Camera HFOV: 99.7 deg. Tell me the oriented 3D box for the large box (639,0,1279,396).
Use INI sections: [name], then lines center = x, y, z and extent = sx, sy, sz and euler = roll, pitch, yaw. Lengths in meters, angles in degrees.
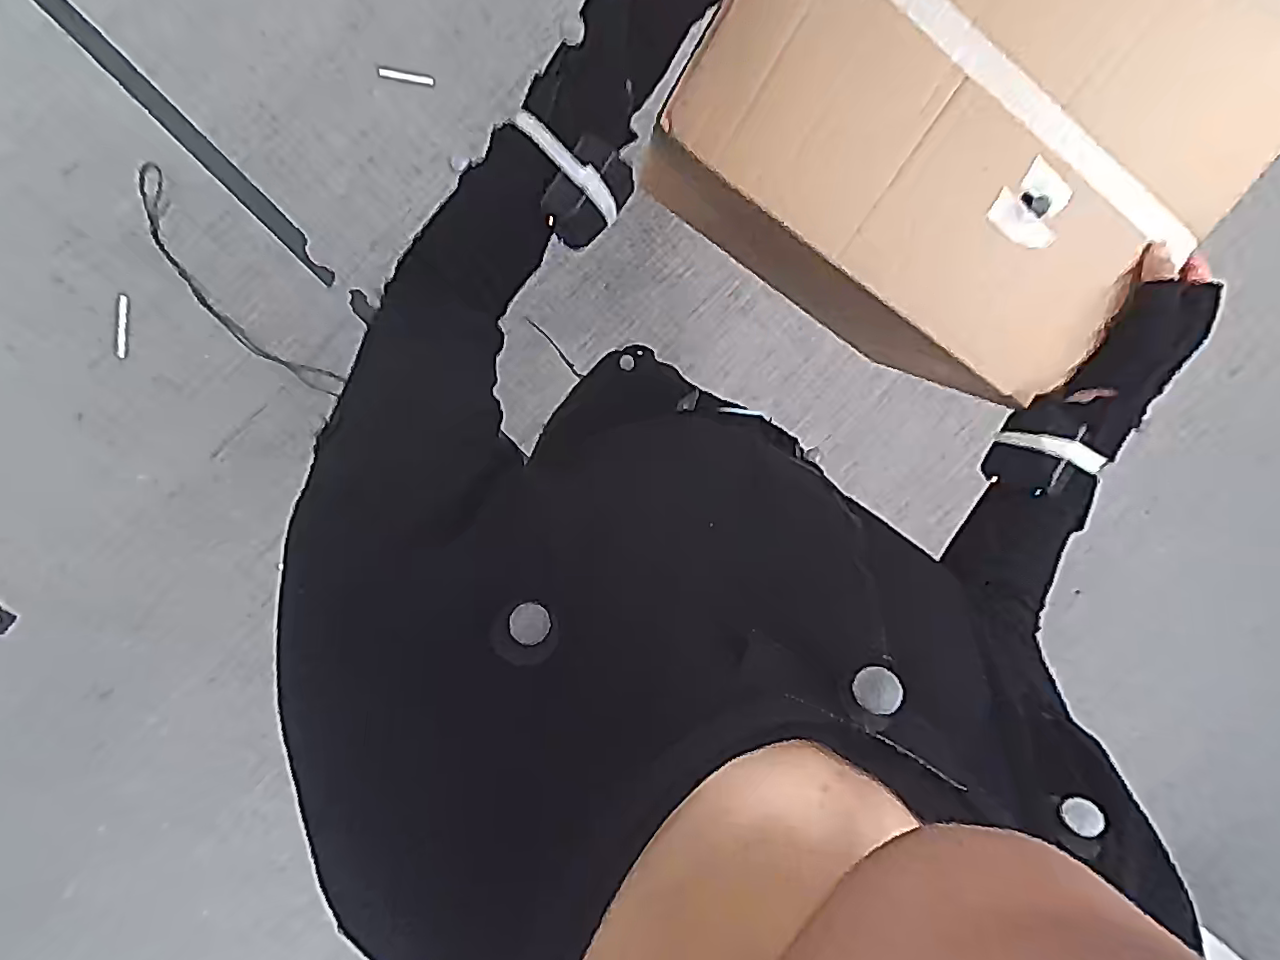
[large box]
center = 0.251, -0.343, 0.542
extent = 0.408, 0.320, 0.320
euler = 30, 107, -14
